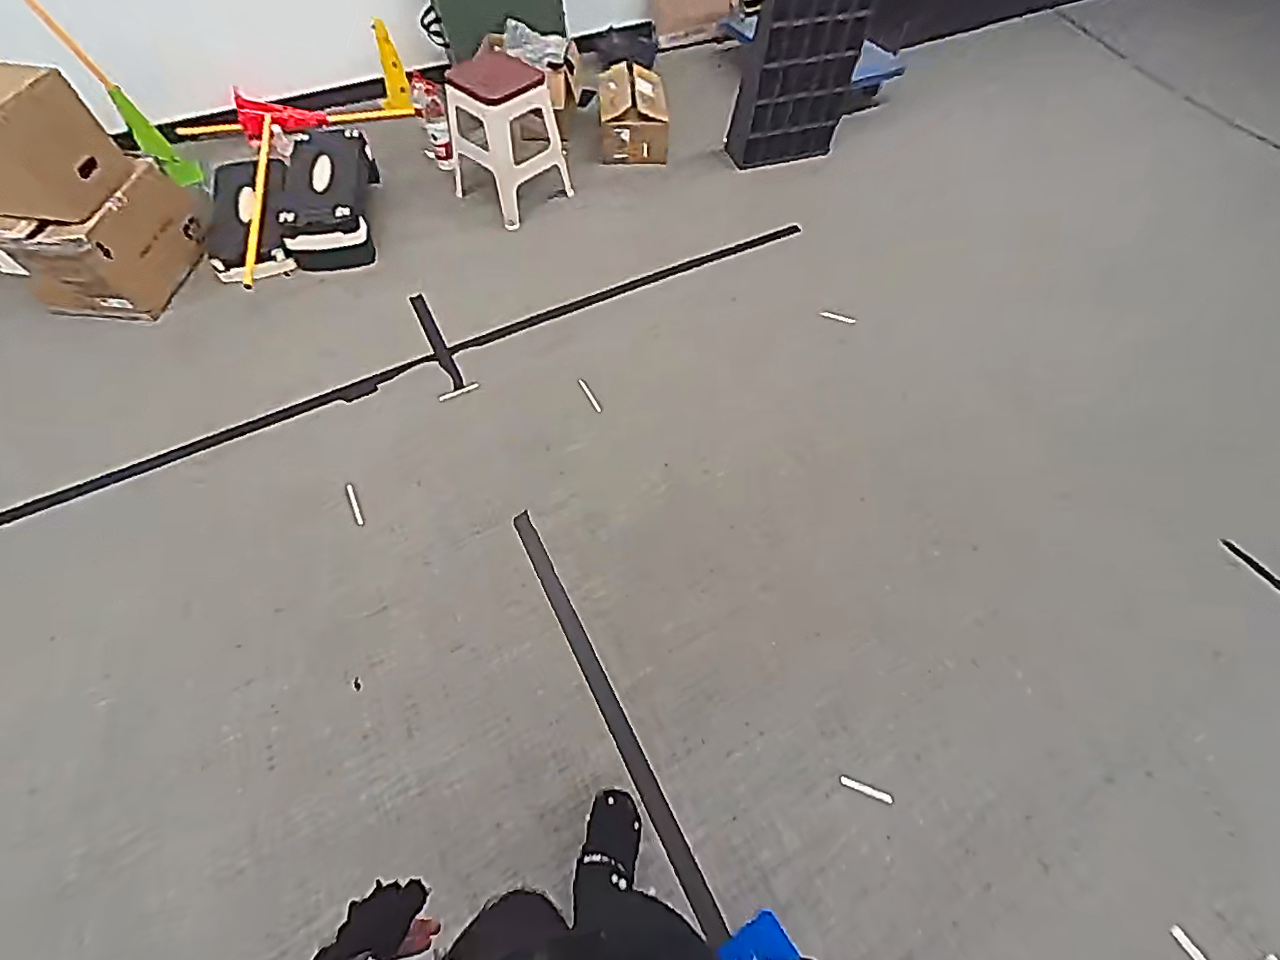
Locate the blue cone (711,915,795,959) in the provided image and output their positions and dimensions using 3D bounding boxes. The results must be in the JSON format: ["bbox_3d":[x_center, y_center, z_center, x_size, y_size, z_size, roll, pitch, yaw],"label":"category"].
[{"bbox_3d":[0.246,0.922,0.926,0.192,0.380,0.193,-27,64,-18],"label":"blue cone"}]
